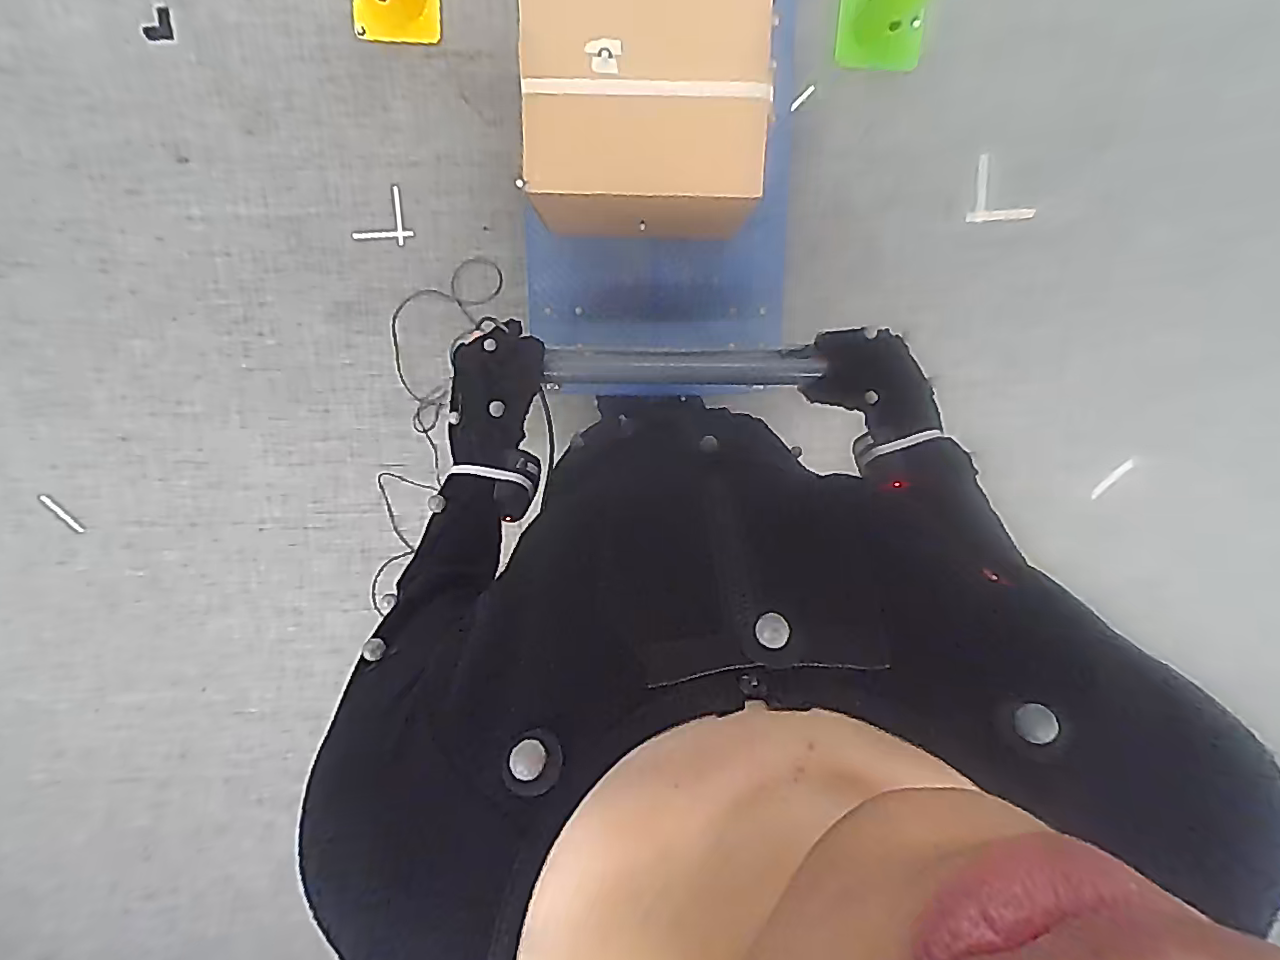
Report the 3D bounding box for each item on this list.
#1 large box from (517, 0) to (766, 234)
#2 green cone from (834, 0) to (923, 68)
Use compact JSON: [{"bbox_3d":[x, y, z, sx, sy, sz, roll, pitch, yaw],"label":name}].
[{"bbox_3d":[0.005,-0.663,1.029,0.408,0.320,0.320,1,101,0],"label":"large box"},{"bbox_3d":[0.568,-1.055,1.104,0.202,0.368,0.200,2,101,-2],"label":"green cone"}]
